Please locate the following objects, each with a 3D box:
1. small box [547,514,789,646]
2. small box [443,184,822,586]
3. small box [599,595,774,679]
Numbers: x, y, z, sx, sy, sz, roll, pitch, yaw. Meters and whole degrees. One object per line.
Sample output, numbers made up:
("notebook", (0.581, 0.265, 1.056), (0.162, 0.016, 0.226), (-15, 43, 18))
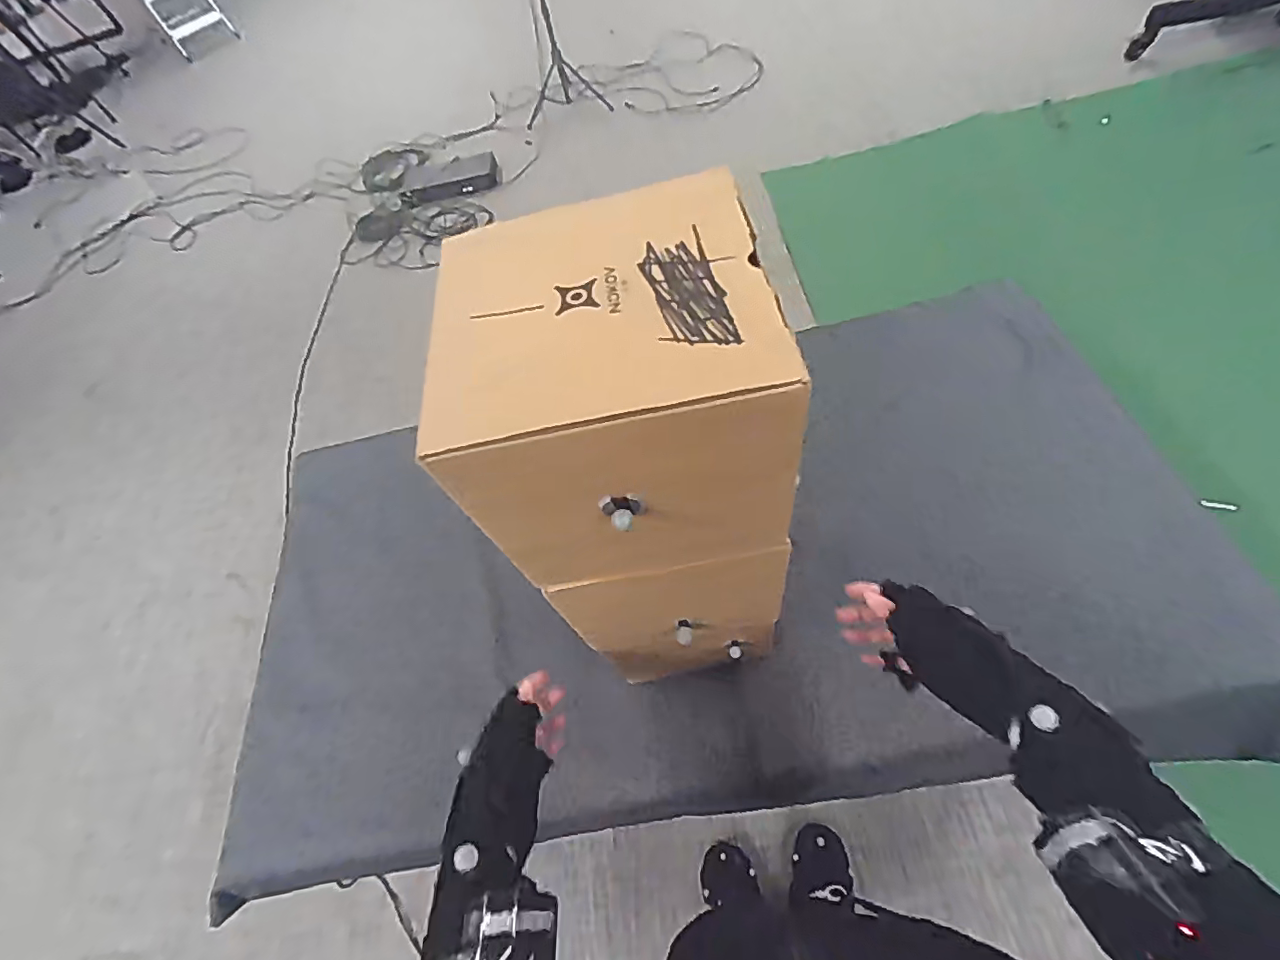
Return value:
("small box", (0.020, 0.037, 0.487), (0.179, 0.176, 0.168), (-12, 57, 3))
("small box", (-0.007, -0.048, 0.348), (0.179, 0.176, 0.168), (-13, 58, 2))
("small box", (0.045, 0.117, 0.627), (0.179, 0.176, 0.168), (-15, 57, 4))
